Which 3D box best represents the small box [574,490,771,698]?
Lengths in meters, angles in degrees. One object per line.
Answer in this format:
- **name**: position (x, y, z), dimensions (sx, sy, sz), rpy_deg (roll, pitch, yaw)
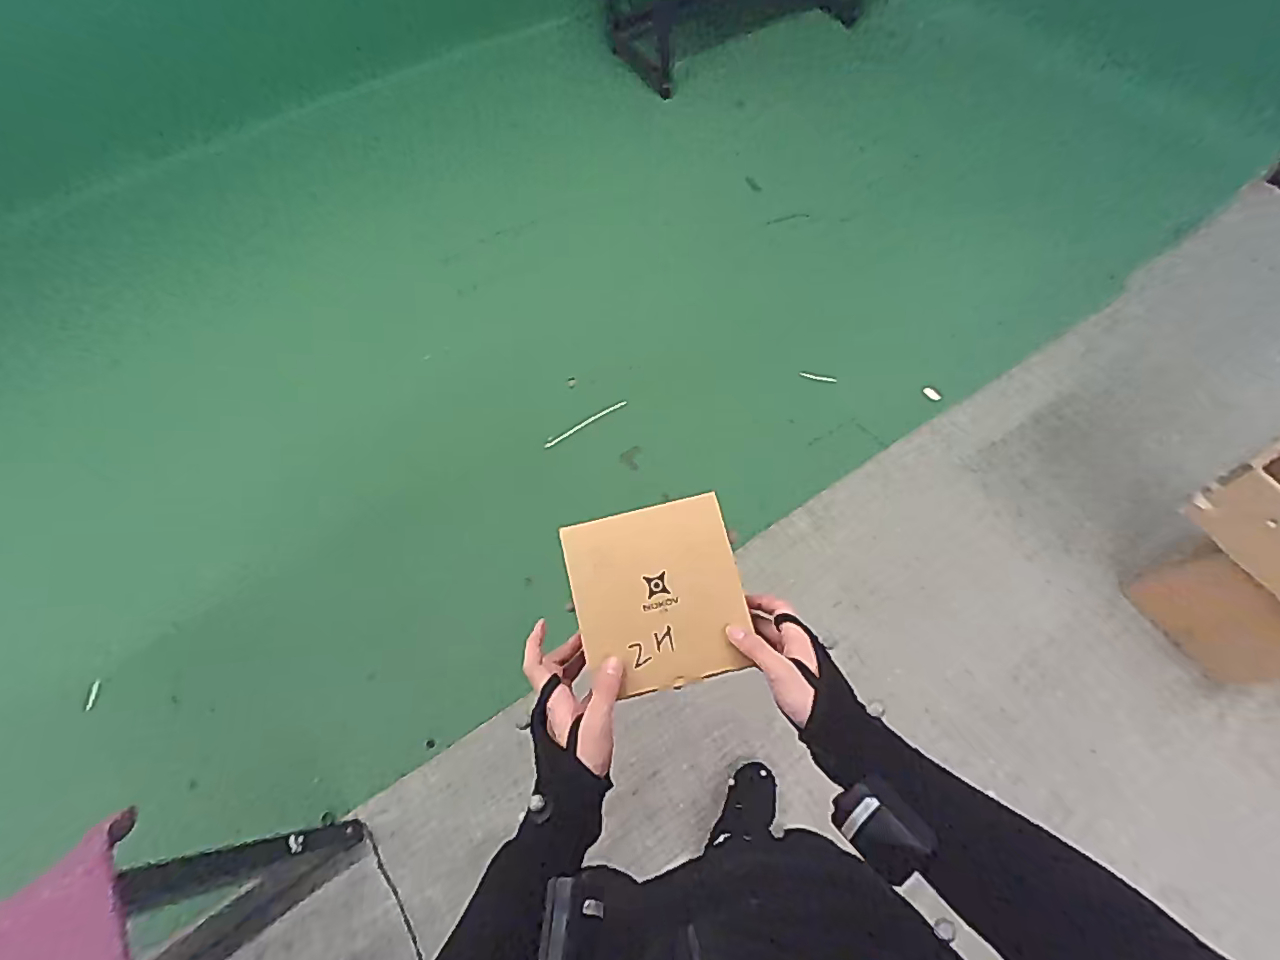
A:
- **small box**: position (0.029, 0.128, 0.604), dimensions (0.168, 0.176, 0.179), rpy_deg (-12, 75, -1)
